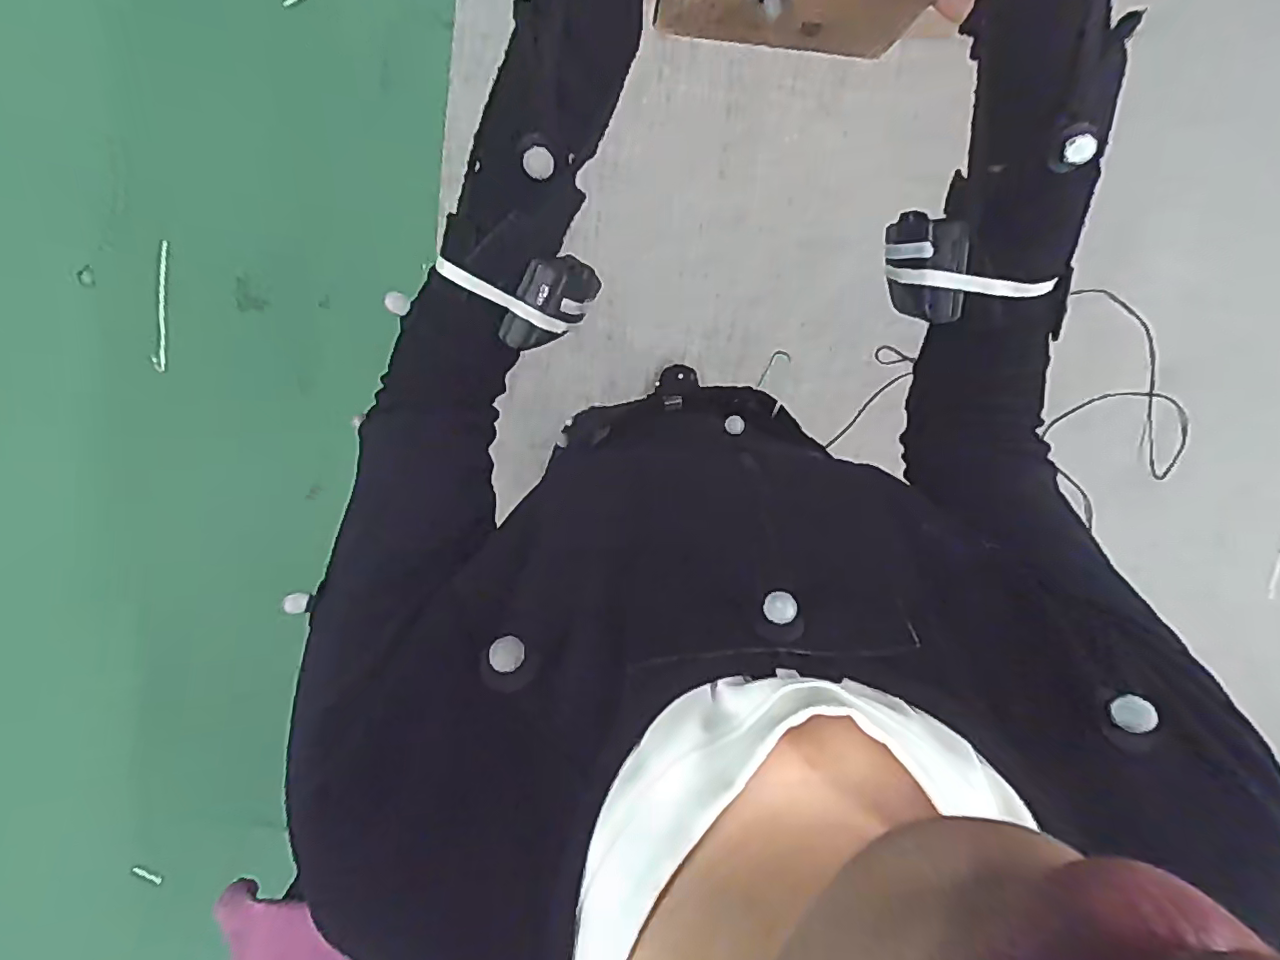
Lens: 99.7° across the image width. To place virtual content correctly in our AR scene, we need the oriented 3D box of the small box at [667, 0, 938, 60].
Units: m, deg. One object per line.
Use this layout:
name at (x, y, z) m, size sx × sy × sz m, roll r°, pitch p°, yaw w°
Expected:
small box at (0.106, -0.367, 0.278) m, size 0.168 × 0.176 × 0.179 m, roll 3°, pitch 104°, yaw -6°
